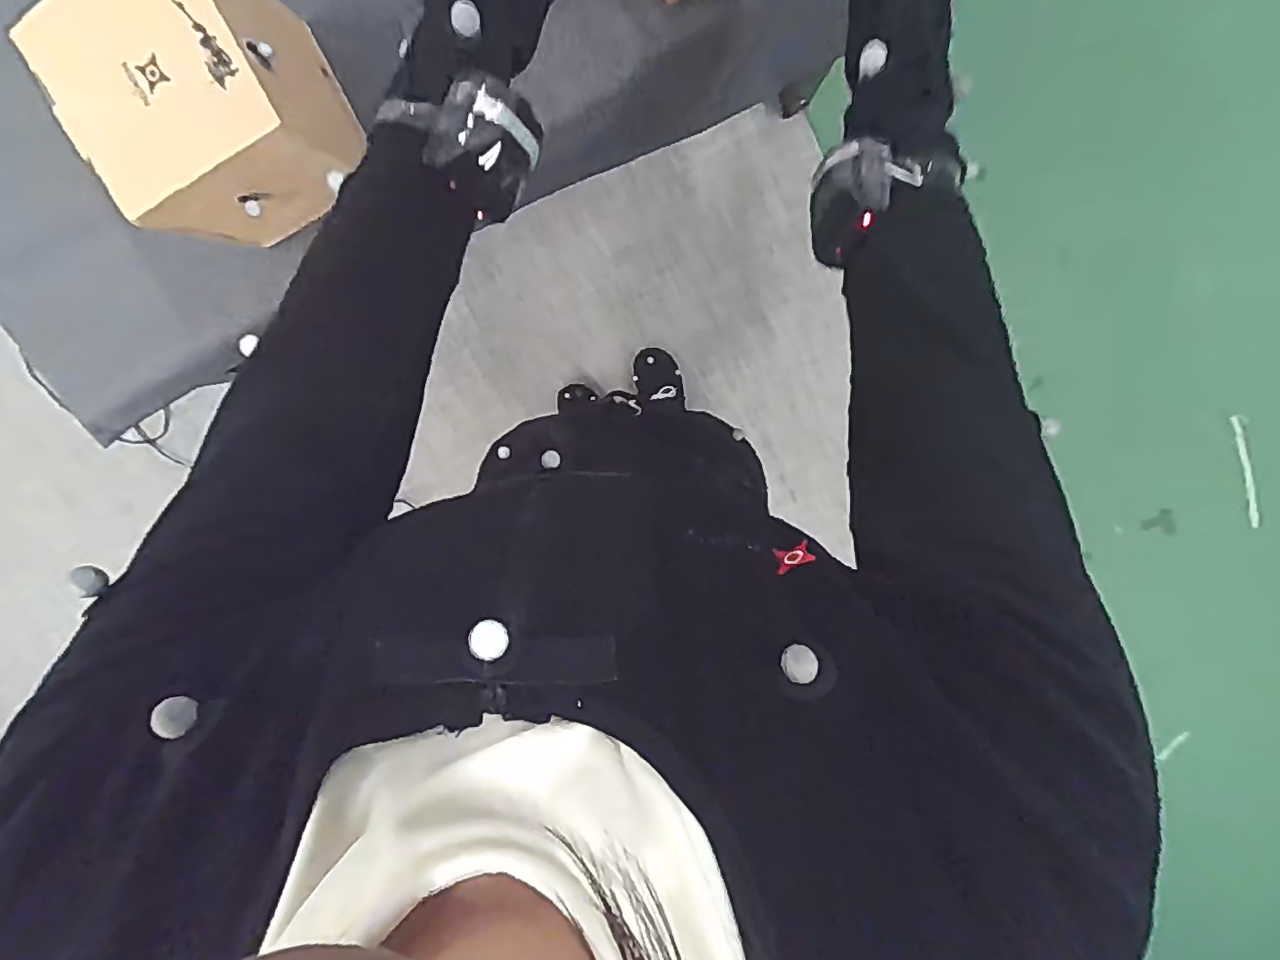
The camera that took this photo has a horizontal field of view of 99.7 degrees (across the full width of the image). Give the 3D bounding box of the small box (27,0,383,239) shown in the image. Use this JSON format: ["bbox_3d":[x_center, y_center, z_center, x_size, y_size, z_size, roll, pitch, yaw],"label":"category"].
[{"bbox_3d":[-0.399,-0.361,0.531,0.179,0.176,0.168,-23,103,11],"label":"small box"}]
